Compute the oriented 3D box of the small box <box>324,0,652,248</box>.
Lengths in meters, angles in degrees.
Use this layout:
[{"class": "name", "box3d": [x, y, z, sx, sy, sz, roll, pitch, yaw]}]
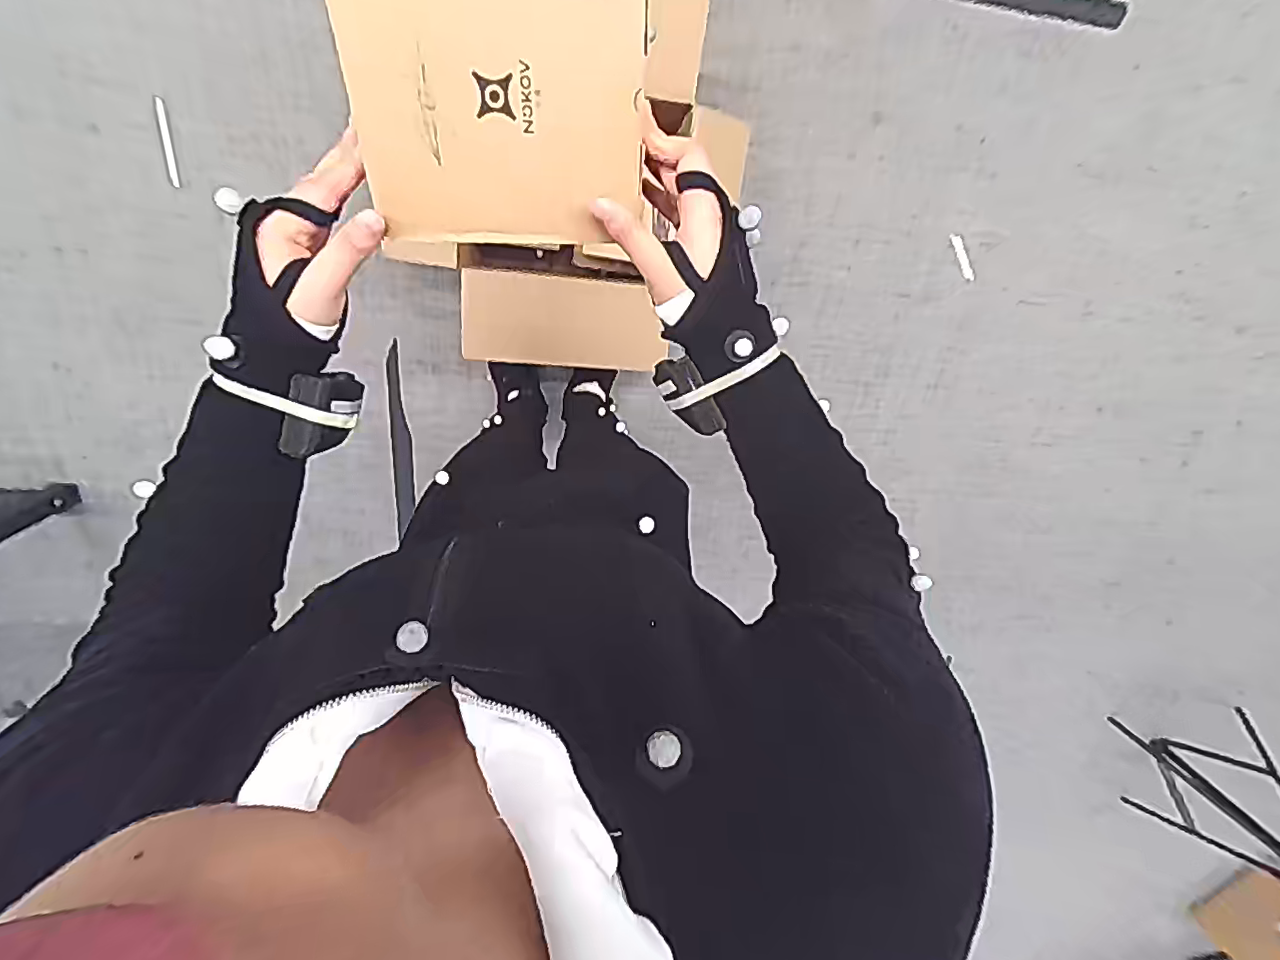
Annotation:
[{"class": "small box", "box3d": [-0.091, -0.271, 0.381, 0.179, 0.176, 0.168, -3, 127, -6]}]
